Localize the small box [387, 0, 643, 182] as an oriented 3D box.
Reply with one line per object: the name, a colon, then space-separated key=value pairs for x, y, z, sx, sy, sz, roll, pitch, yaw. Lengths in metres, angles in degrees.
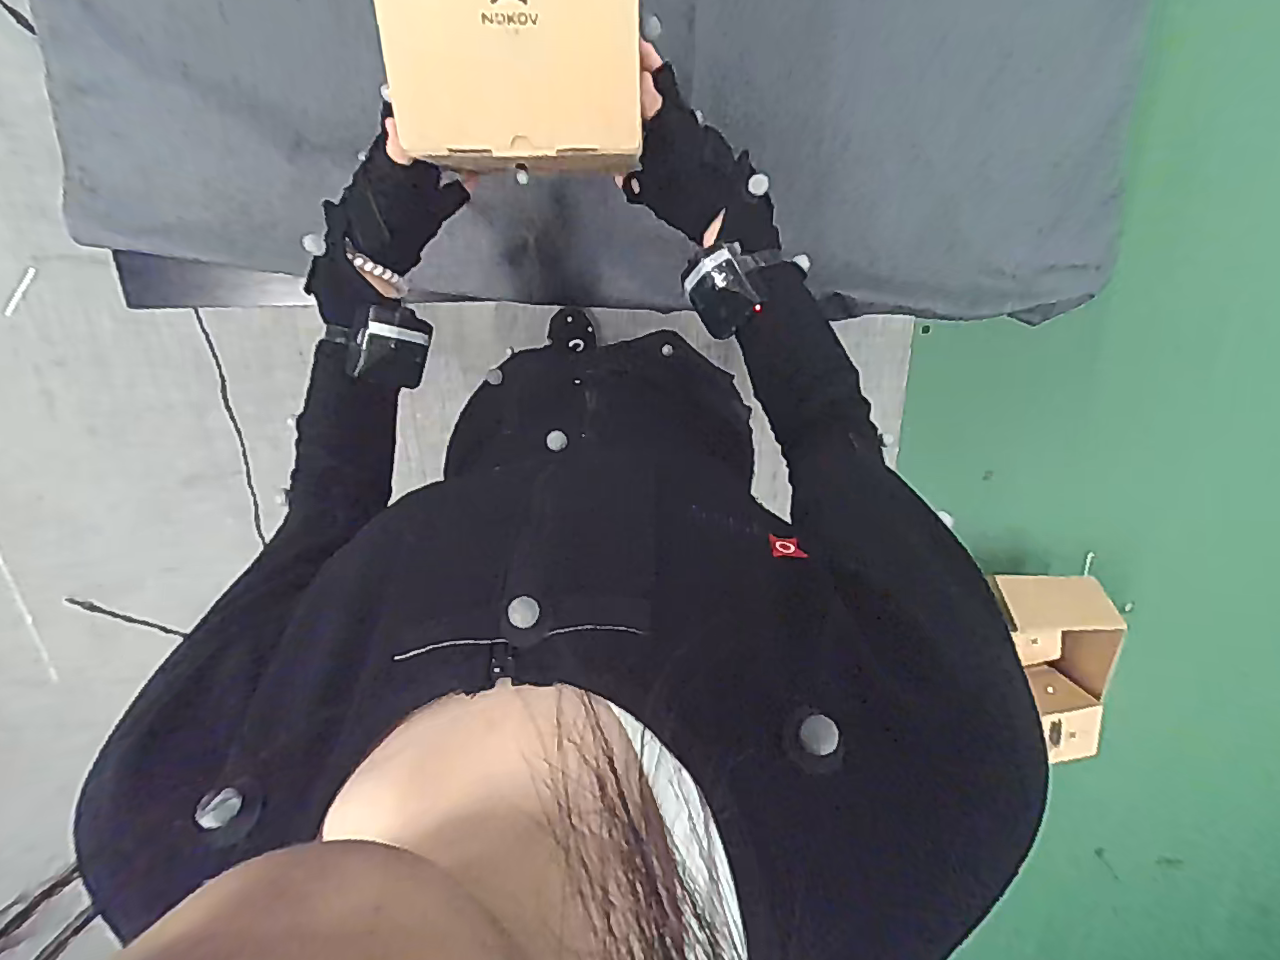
small box: x=-0.088 y=-0.339 z=0.423 sx=0.168 sy=0.176 sz=0.179 roll=-3 pitch=116 yaw=-4
